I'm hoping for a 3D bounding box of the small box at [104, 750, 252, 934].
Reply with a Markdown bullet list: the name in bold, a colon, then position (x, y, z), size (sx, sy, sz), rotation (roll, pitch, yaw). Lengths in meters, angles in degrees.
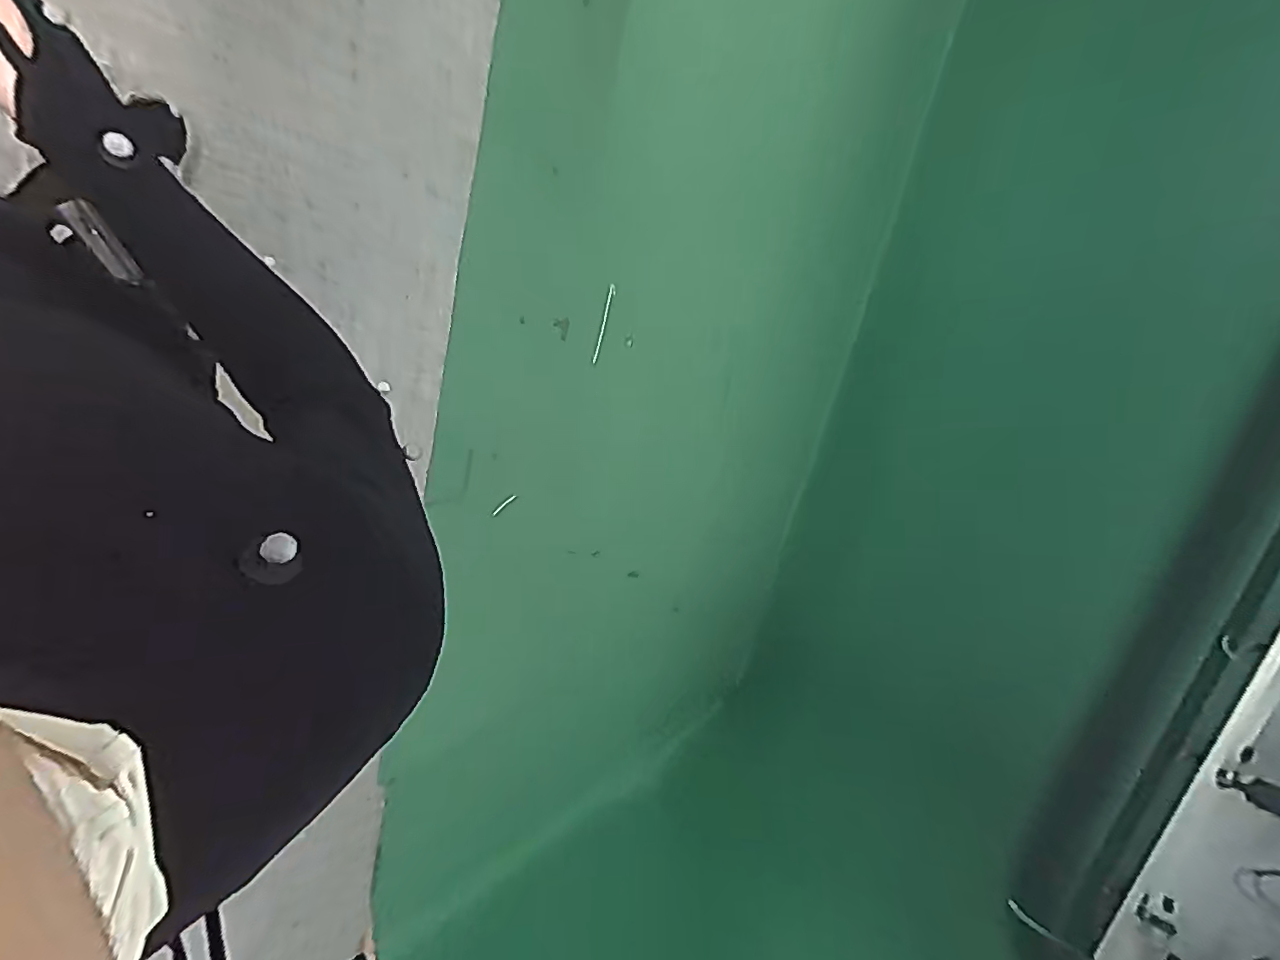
- **small box**: position (-0.824, 0.626, 0.962), size (0.168, 0.176, 0.179), rotation (3, 107, -52)
